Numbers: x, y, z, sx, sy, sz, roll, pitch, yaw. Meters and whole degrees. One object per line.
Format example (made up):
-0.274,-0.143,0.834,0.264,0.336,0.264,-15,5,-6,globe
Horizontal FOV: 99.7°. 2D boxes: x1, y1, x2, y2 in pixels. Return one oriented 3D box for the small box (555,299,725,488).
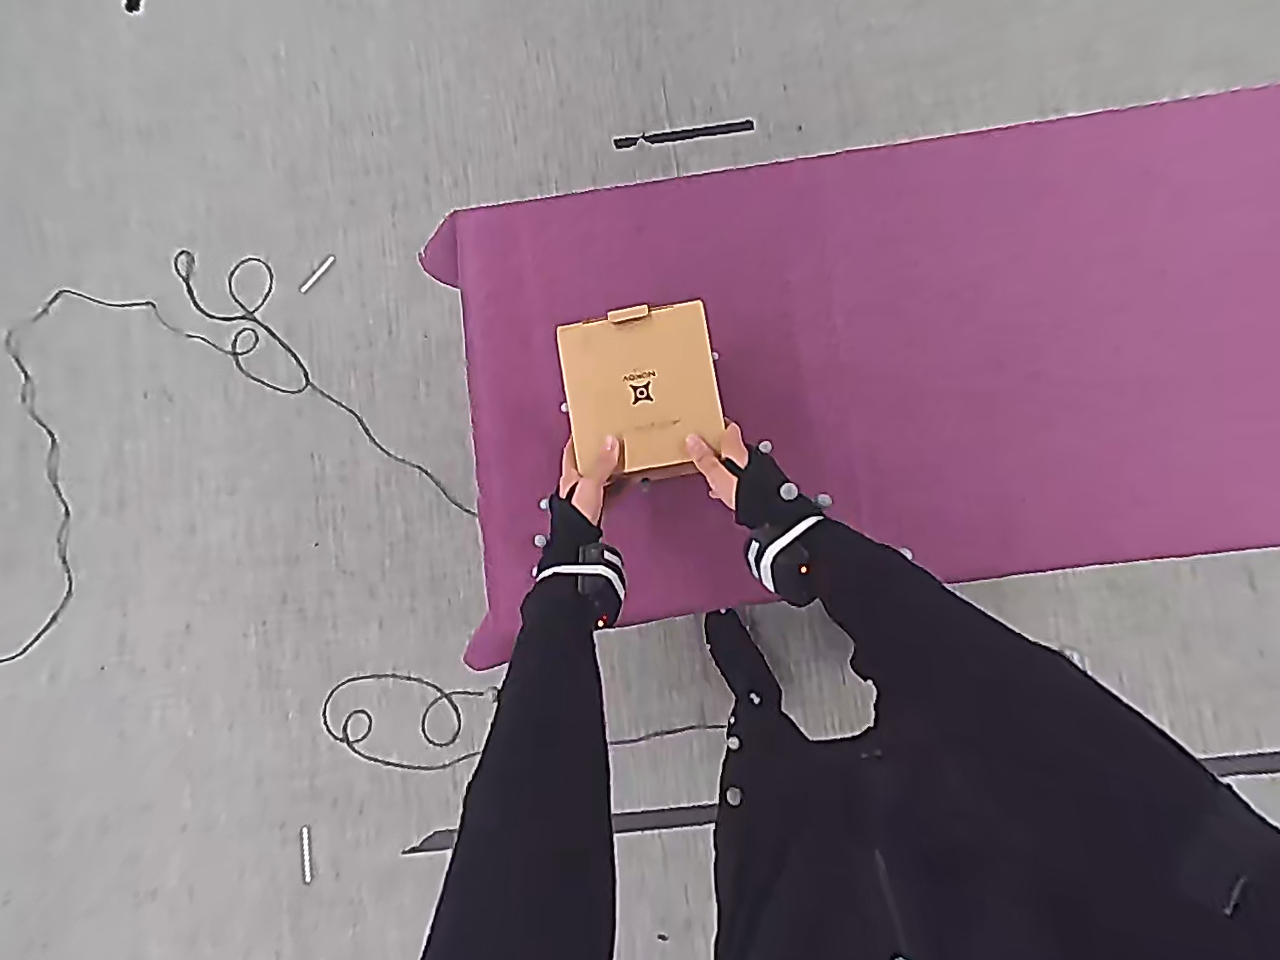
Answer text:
0.002,-0.092,0.655,0.168,0.176,0.179,-9,85,3,small box
